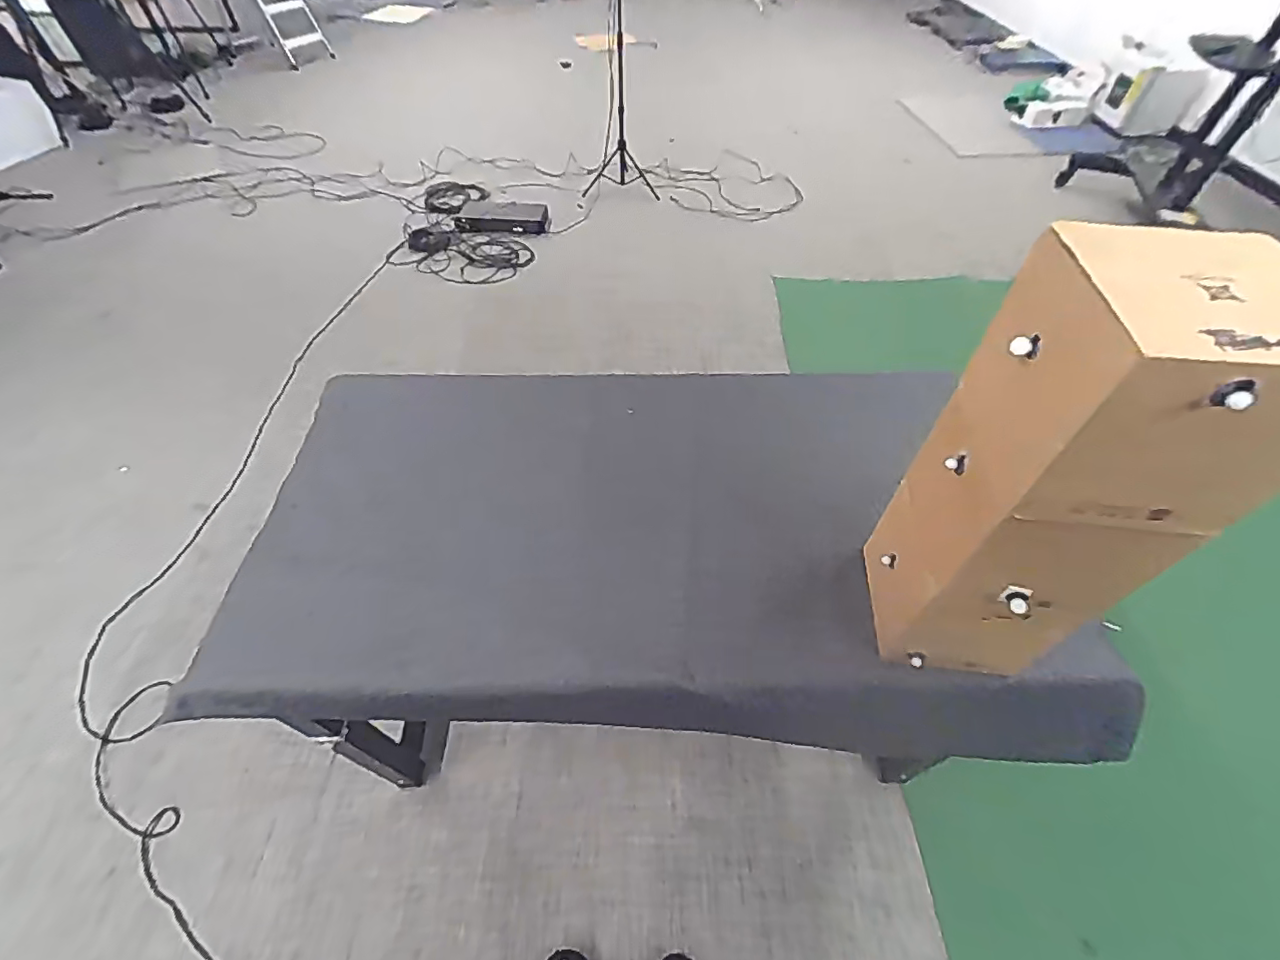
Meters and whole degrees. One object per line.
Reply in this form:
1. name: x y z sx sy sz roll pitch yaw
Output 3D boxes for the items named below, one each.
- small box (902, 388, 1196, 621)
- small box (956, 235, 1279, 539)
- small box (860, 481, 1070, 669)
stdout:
1. small box: 0.399 0.026 0.574 0.168 0.176 0.179 6 52 6
2. small box: 0.393 -0.076 0.447 0.168 0.176 0.179 6 50 6
3. small box: 0.401 0.126 0.701 0.168 0.176 0.179 6 50 5
